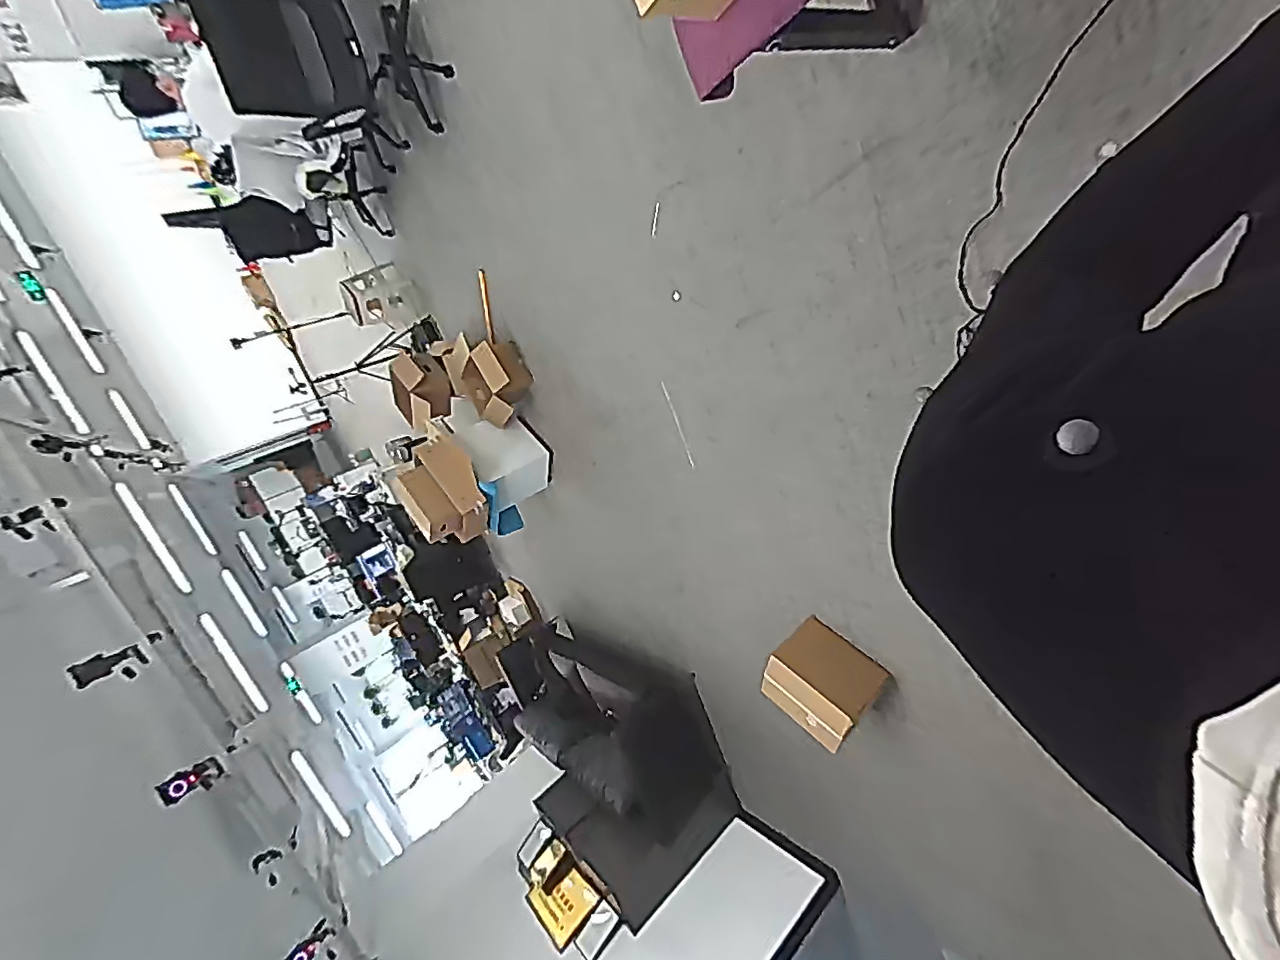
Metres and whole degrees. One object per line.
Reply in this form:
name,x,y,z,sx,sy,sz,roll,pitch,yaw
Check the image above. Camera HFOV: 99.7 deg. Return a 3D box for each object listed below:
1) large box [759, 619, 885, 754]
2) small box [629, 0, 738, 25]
large box,0.803,0.909,2.420,0.408,0.320,0.320,34,141,34
small box,0.074,-0.806,0.782,0.168,0.176,0.179,-4,111,55
